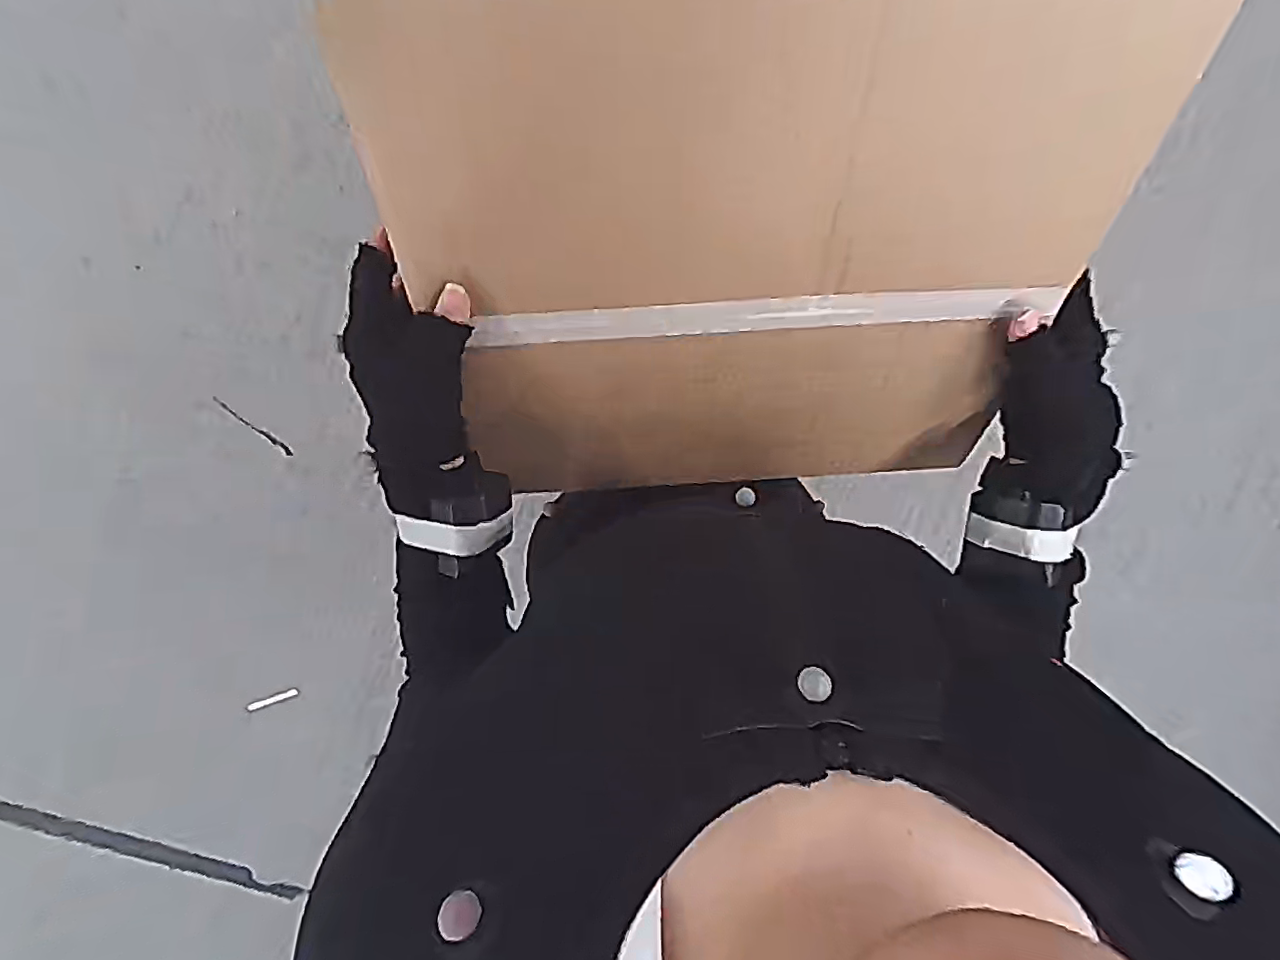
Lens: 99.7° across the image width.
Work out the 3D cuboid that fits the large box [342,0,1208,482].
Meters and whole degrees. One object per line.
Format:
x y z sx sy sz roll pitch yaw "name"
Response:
0.056 -0.224 0.447 0.408 0.320 0.320 -3 139 -3 "large box"
